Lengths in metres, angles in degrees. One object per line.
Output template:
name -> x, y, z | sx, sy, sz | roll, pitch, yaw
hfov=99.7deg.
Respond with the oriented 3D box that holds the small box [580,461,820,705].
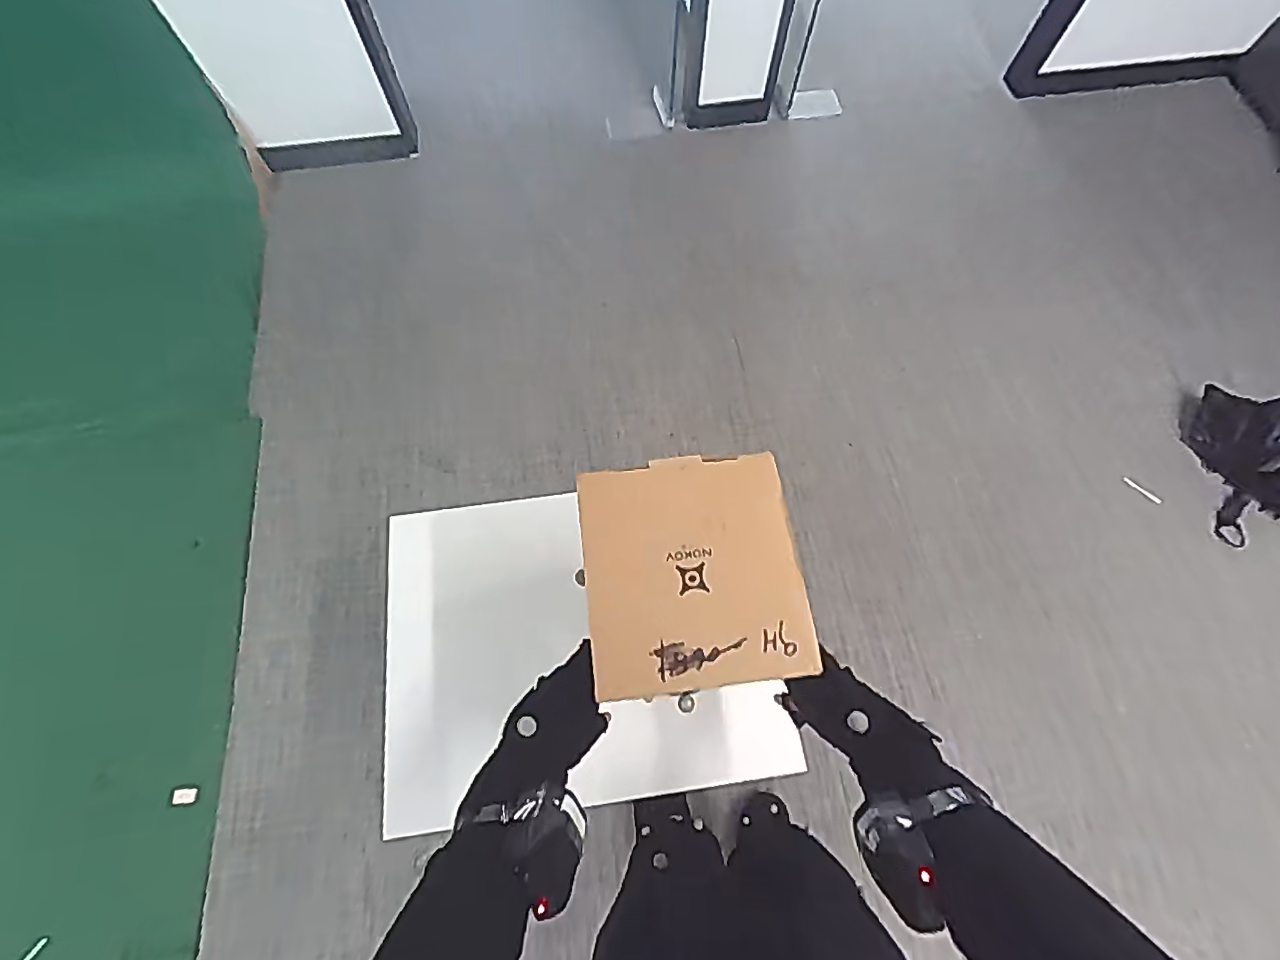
small box -> 0.040, 0.102, 0.490 | 0.168, 0.176, 0.179 | -7, 68, -2
